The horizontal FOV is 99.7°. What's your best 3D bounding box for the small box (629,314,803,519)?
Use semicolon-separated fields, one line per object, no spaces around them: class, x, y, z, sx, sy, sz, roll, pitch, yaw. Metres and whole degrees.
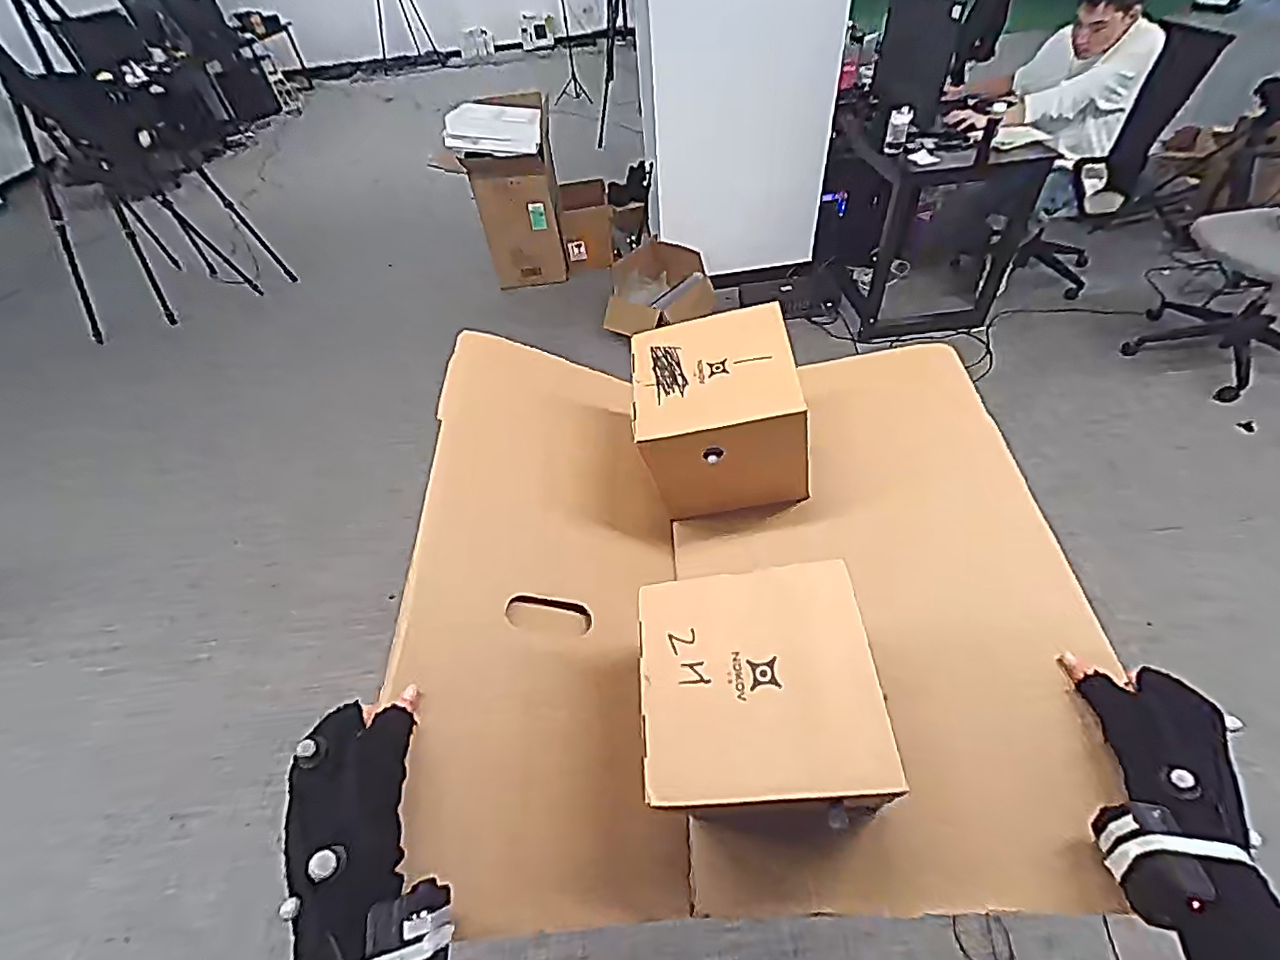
small box;0.094;-0.067;0.658;0.179;0.176;0.168;-10;55;11

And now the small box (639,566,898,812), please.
small box;0.105;0.193;0.479;0.179;0.176;0.168;-11;55;12
